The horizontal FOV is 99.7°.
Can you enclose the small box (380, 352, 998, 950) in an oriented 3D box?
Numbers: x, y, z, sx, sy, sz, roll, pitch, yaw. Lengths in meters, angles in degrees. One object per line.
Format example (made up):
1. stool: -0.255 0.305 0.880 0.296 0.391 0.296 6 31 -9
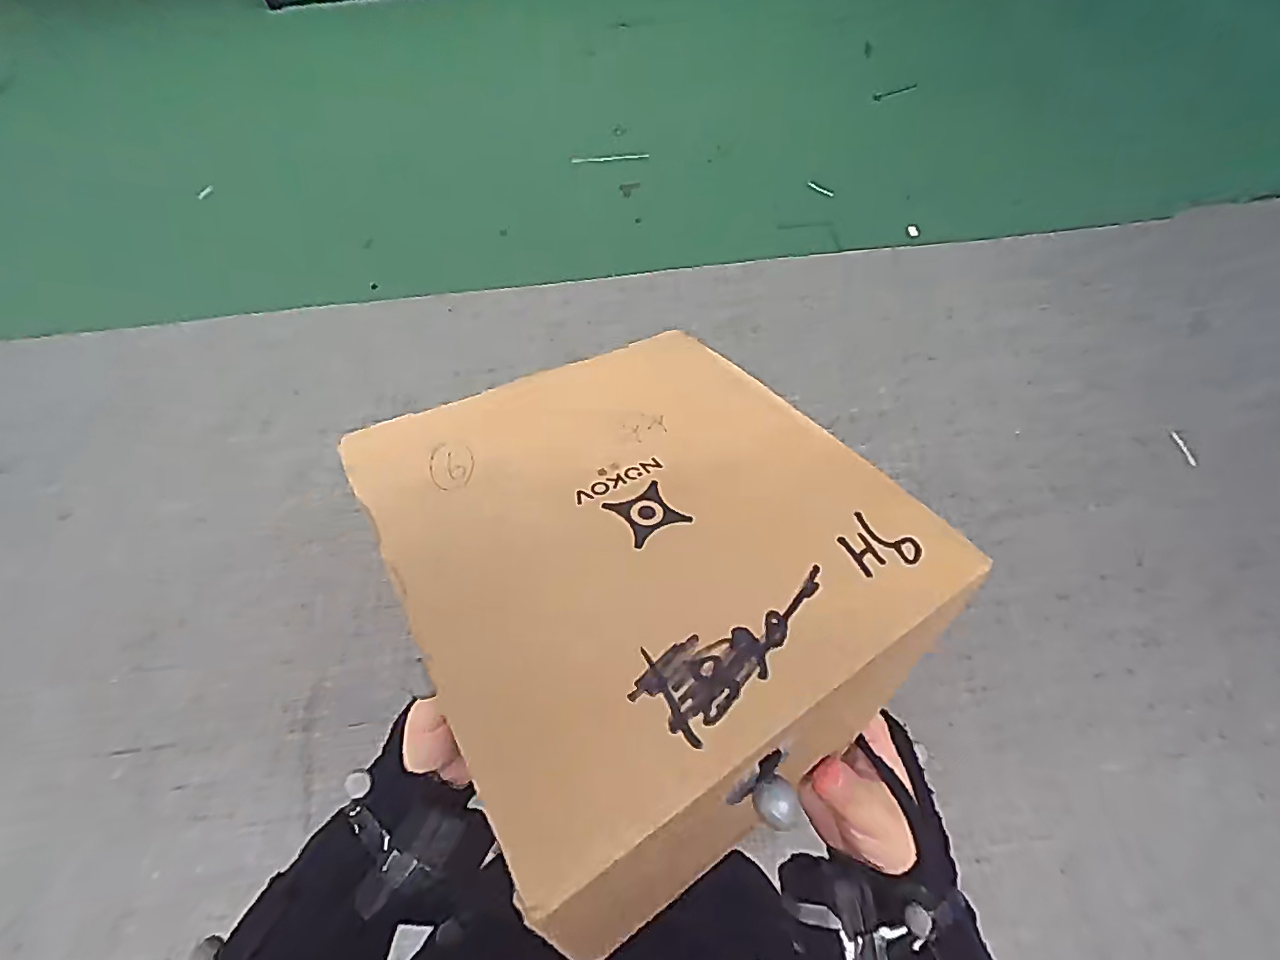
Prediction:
1. small box: 0.007 0.071 0.257 0.168 0.176 0.179 -26 51 -23
